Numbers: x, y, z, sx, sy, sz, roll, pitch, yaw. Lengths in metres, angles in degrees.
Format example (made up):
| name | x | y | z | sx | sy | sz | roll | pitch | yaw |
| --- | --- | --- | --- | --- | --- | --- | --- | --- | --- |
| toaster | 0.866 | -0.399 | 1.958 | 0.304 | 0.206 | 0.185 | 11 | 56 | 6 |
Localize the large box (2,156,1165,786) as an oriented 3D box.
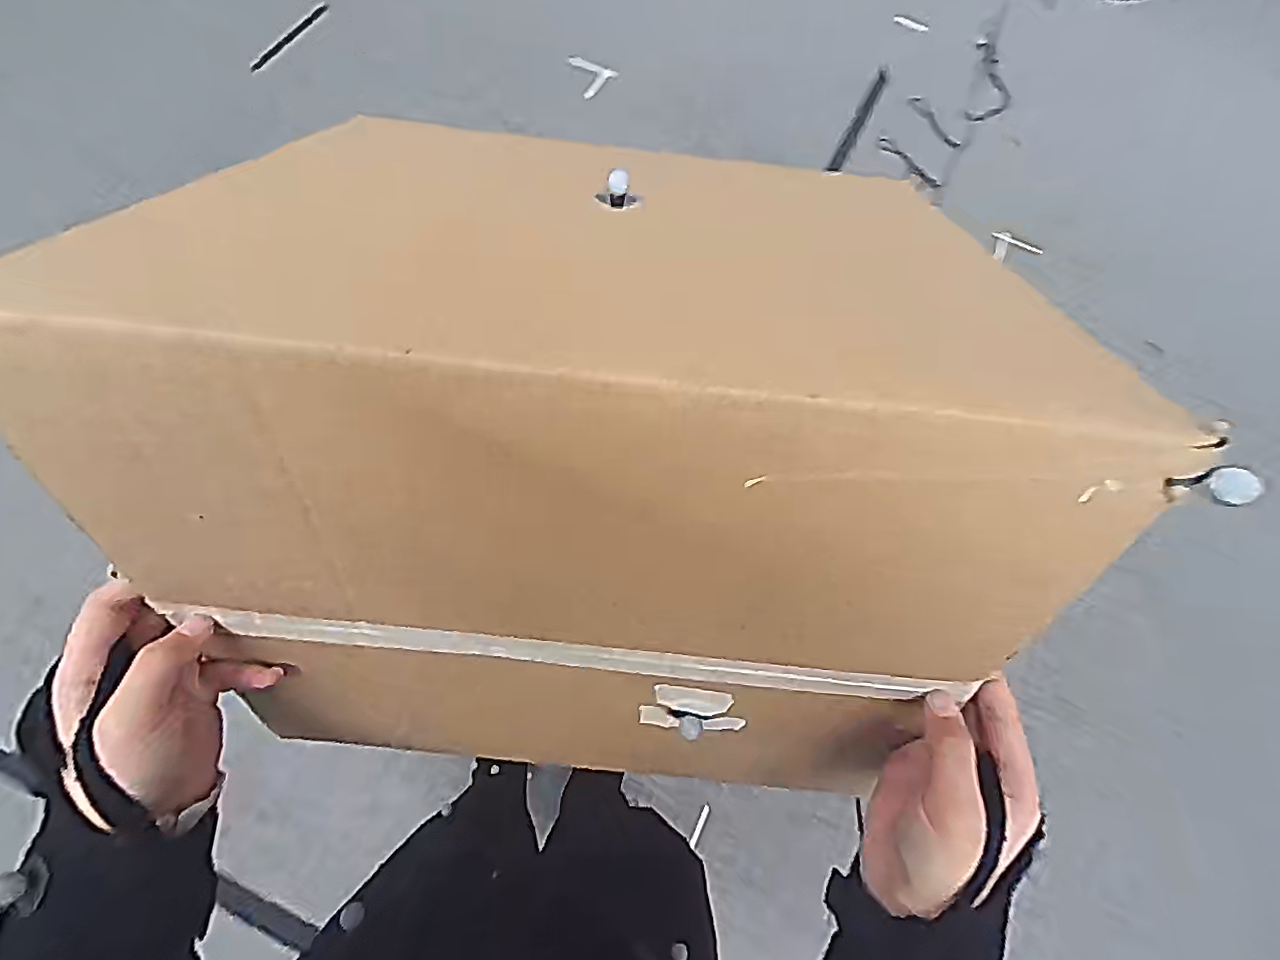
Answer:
| name | x | y | z | sx | sy | sz | roll | pitch | yaw |
| --- | --- | --- | --- | --- | --- | --- | --- | --- | --- |
| large box | -0.024 | -0.016 | 0.390 | 0.408 | 0.320 | 0.320 | 6 | 43 | 0 |
